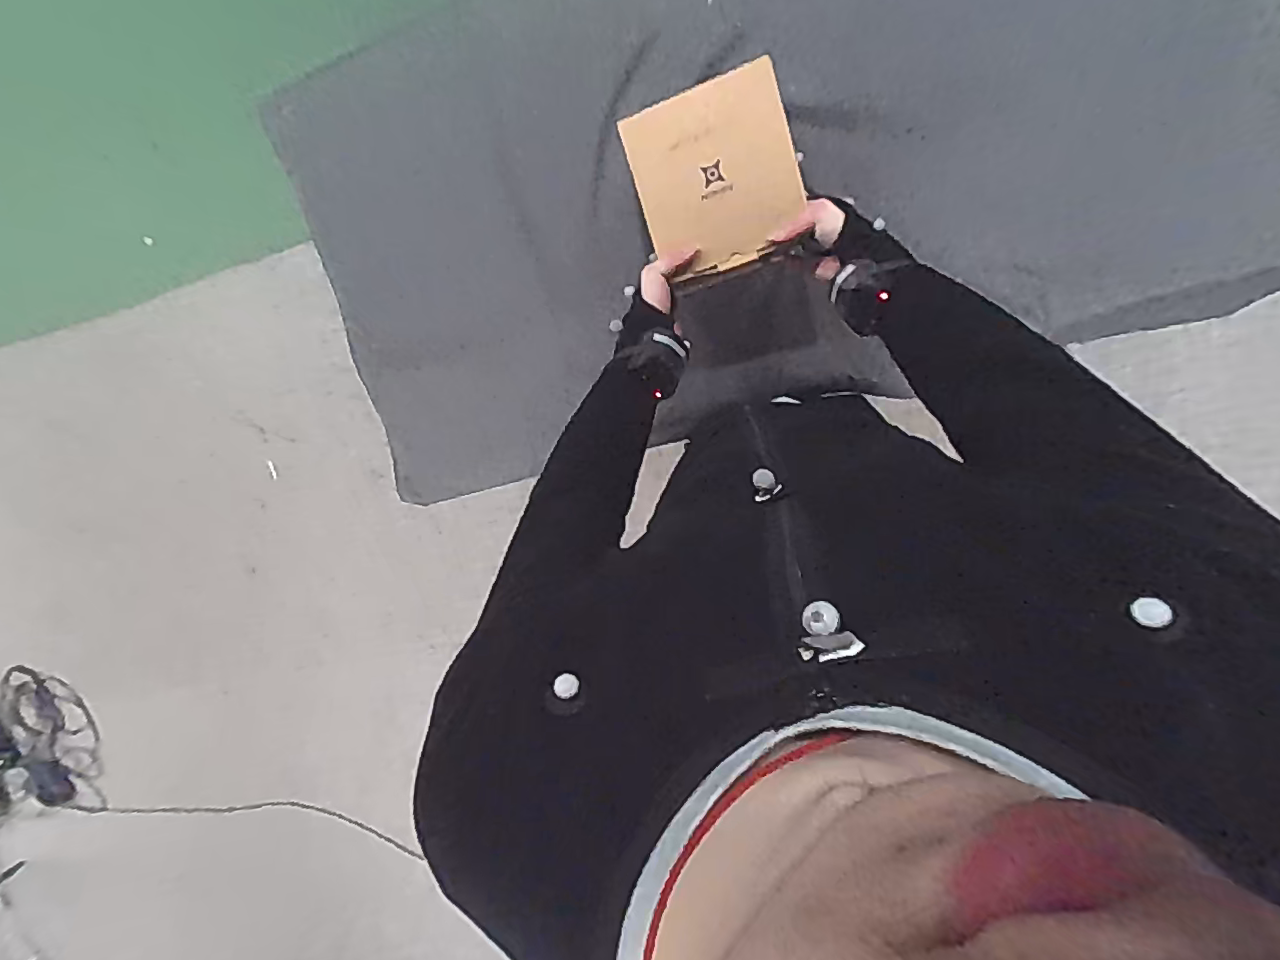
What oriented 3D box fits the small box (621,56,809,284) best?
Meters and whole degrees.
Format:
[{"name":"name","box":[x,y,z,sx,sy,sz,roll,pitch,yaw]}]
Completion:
[{"name":"small box","box":[0.091,-0.346,0.651,0.168,0.176,0.179,-16,102,11]}]
